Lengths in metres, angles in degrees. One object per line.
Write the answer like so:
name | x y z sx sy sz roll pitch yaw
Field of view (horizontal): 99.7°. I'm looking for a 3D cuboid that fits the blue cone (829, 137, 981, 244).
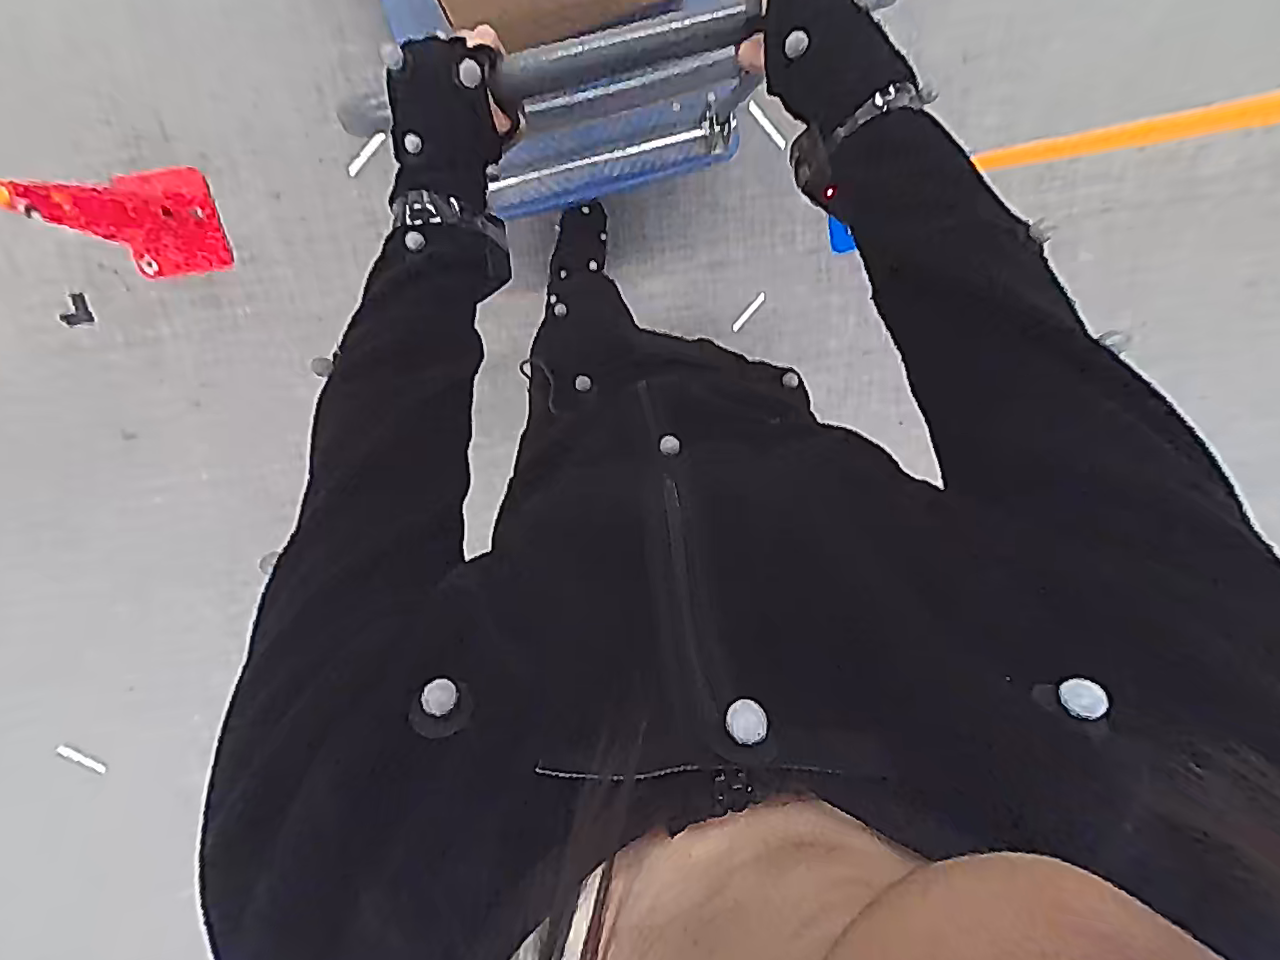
blue cone | 0.553 -0.610 1.099 0.193 0.380 0.192 -12 108 -2
